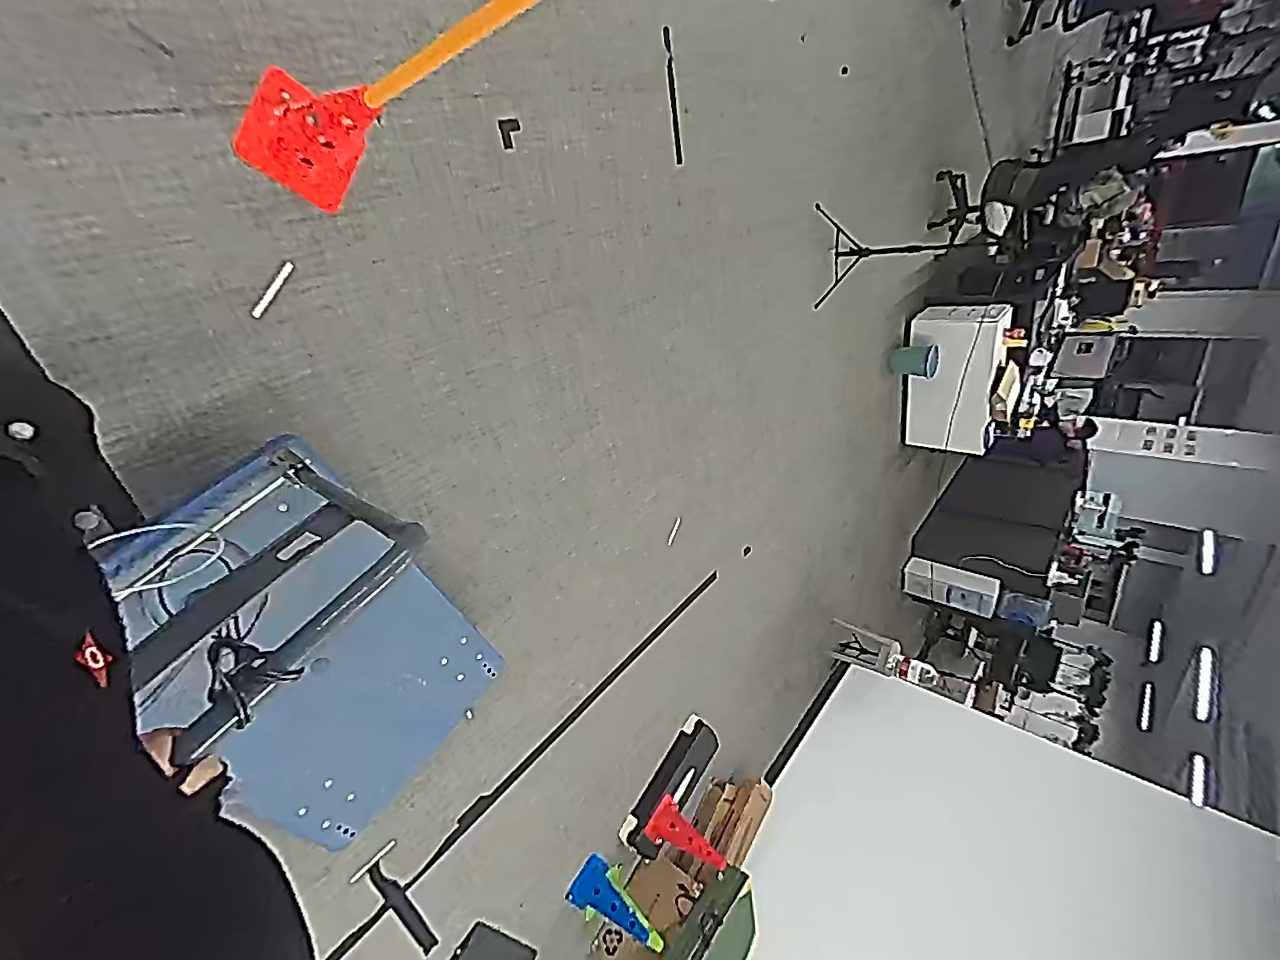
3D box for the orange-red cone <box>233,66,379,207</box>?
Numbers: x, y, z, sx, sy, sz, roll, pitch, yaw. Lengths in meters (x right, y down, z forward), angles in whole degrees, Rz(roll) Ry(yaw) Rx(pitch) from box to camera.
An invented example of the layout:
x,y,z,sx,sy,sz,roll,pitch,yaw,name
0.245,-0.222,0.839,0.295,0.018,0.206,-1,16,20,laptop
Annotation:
x,y,z,sx,sy,sz,roll,pitch,yaw,name
-0.574,-0.666,1.006,0.198,0.360,0.199,27,82,-48,orange-red cone
